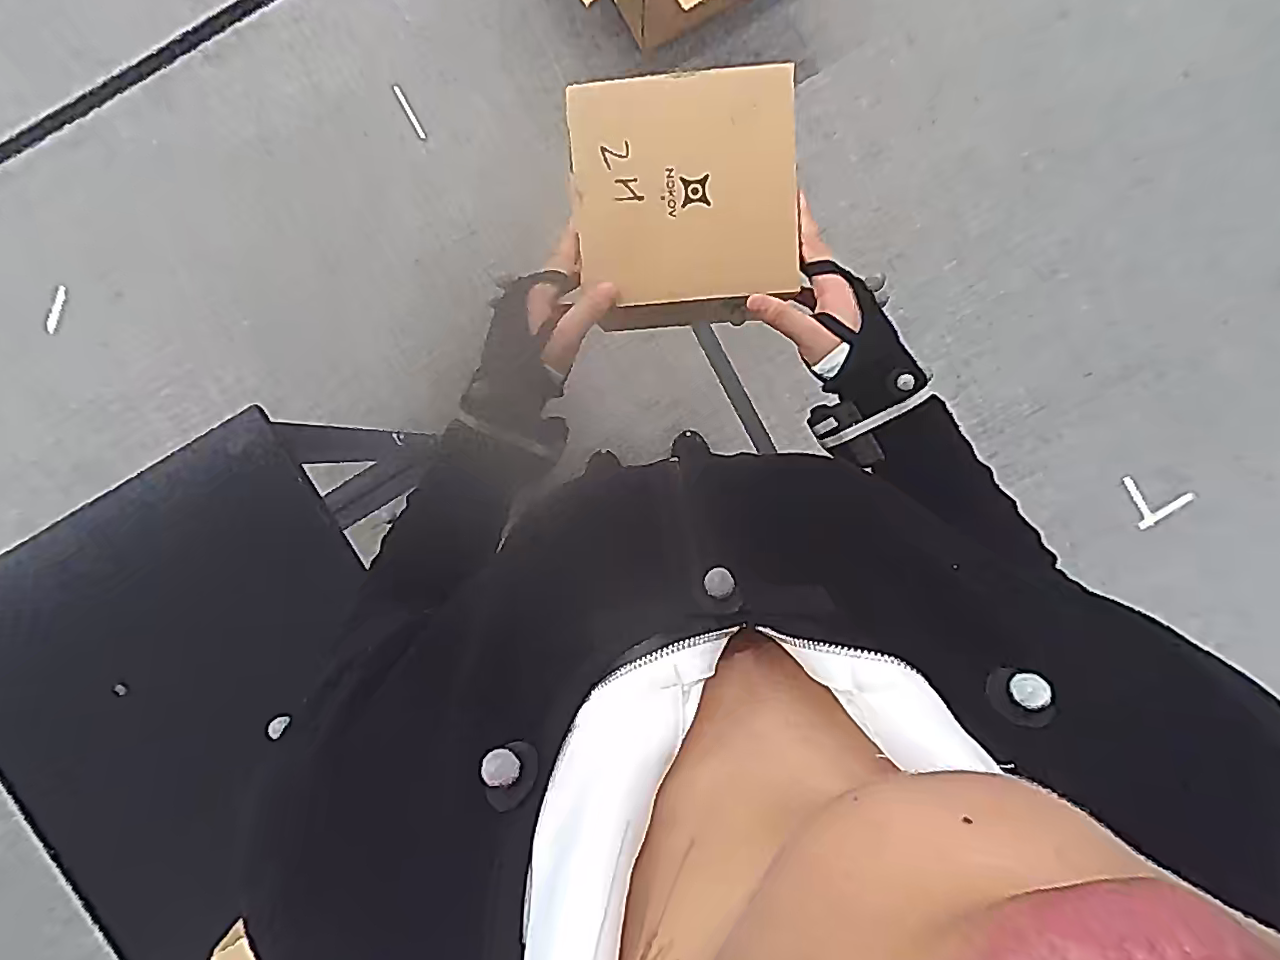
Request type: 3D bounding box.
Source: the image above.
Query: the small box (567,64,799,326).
[{"bbox_3d":[0.038,-0.239,0.499,0.179,0.176,0.168,-4,99,3],"label":"small box"}]
